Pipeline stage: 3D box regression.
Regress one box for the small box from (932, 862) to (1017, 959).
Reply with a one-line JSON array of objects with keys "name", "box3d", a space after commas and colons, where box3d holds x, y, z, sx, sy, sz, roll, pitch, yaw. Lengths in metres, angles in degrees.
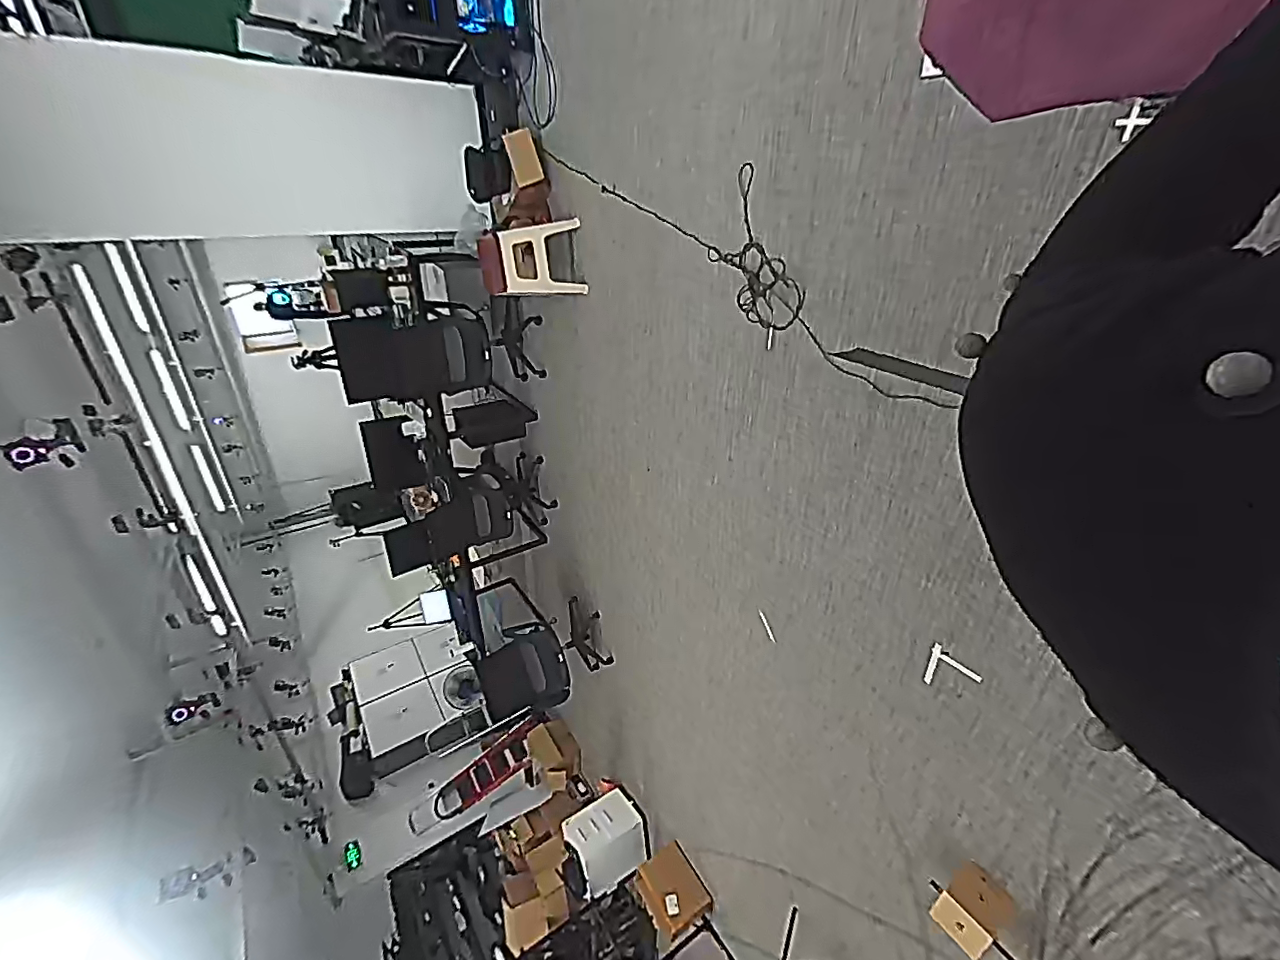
[{"name": "small box", "box3d": [1.132, 1.448, 1.826, 0.168, 0.176, 0.179, 39, 137, 45]}]
